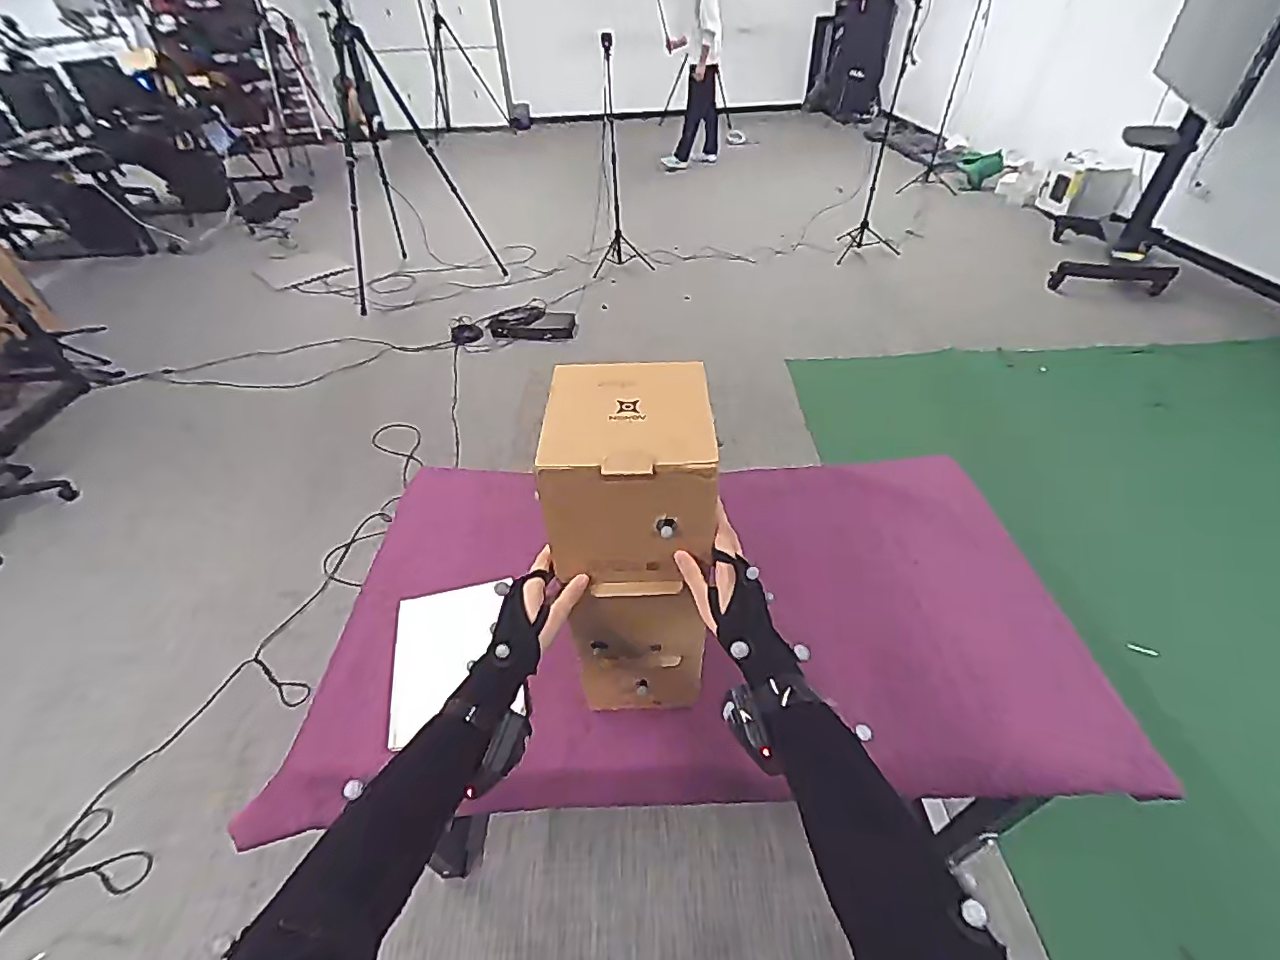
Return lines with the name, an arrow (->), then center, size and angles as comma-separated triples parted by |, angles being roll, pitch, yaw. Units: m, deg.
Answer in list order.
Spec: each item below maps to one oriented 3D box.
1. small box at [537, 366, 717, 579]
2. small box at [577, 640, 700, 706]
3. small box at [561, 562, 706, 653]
small box -> -0.007, -0.006, 0.593 | 0.168, 0.176, 0.179 | 0, 42, 1
small box -> 0.002, 0.228, 0.822 | 0.168, 0.176, 0.179 | -1, 43, 1
small box -> -0.003, 0.110, 0.707 | 0.168, 0.176, 0.179 | -1, 41, 1
